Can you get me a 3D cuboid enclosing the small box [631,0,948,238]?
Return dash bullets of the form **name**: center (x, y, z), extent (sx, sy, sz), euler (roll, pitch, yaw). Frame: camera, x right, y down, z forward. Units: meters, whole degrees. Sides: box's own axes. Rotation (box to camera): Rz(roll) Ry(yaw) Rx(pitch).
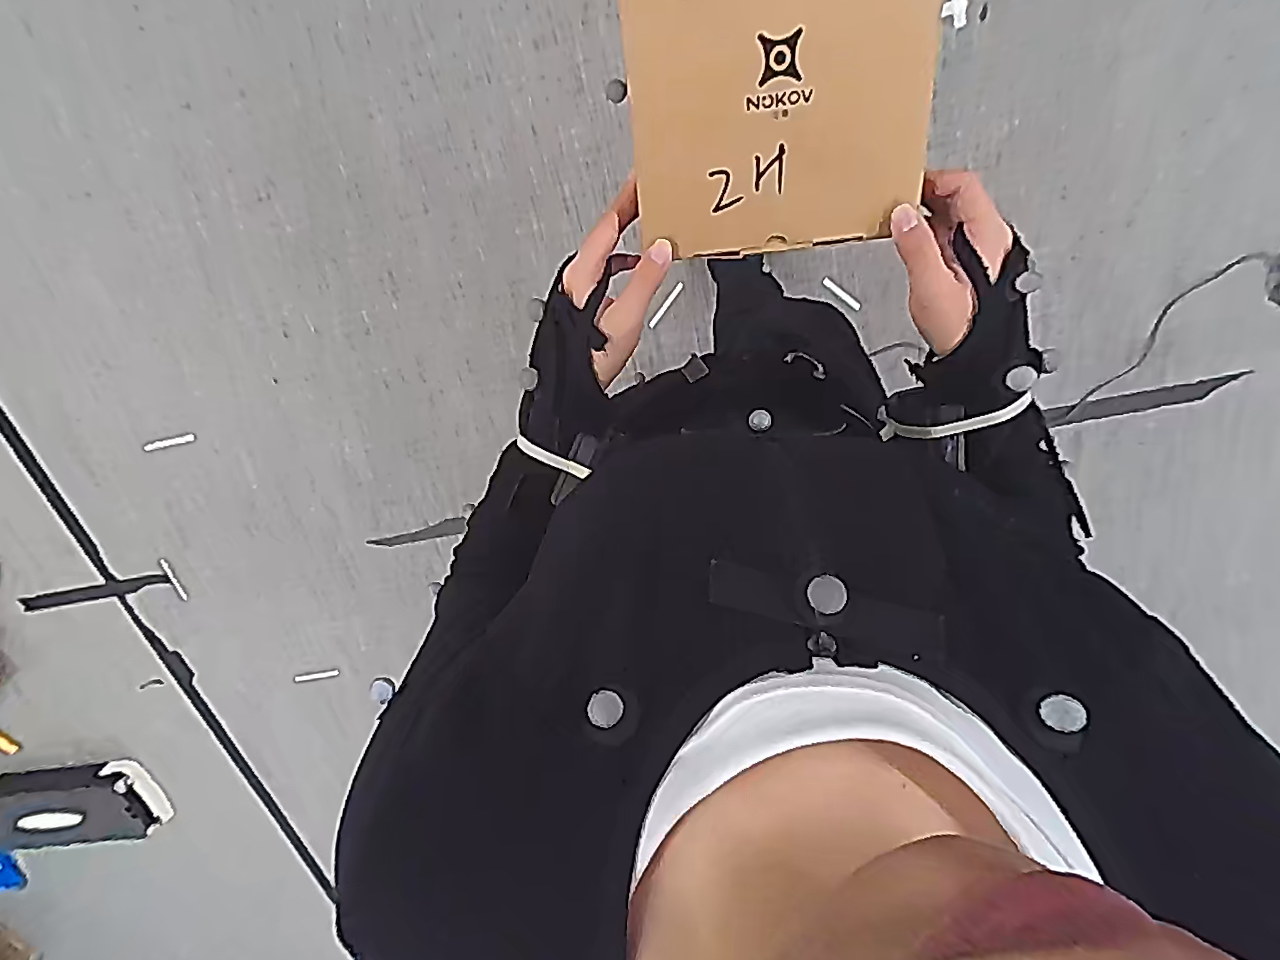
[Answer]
- **small box**: center (0.082, -0.266, 0.360), extent (0.168, 0.176, 0.179), euler (-3, 117, 6)
